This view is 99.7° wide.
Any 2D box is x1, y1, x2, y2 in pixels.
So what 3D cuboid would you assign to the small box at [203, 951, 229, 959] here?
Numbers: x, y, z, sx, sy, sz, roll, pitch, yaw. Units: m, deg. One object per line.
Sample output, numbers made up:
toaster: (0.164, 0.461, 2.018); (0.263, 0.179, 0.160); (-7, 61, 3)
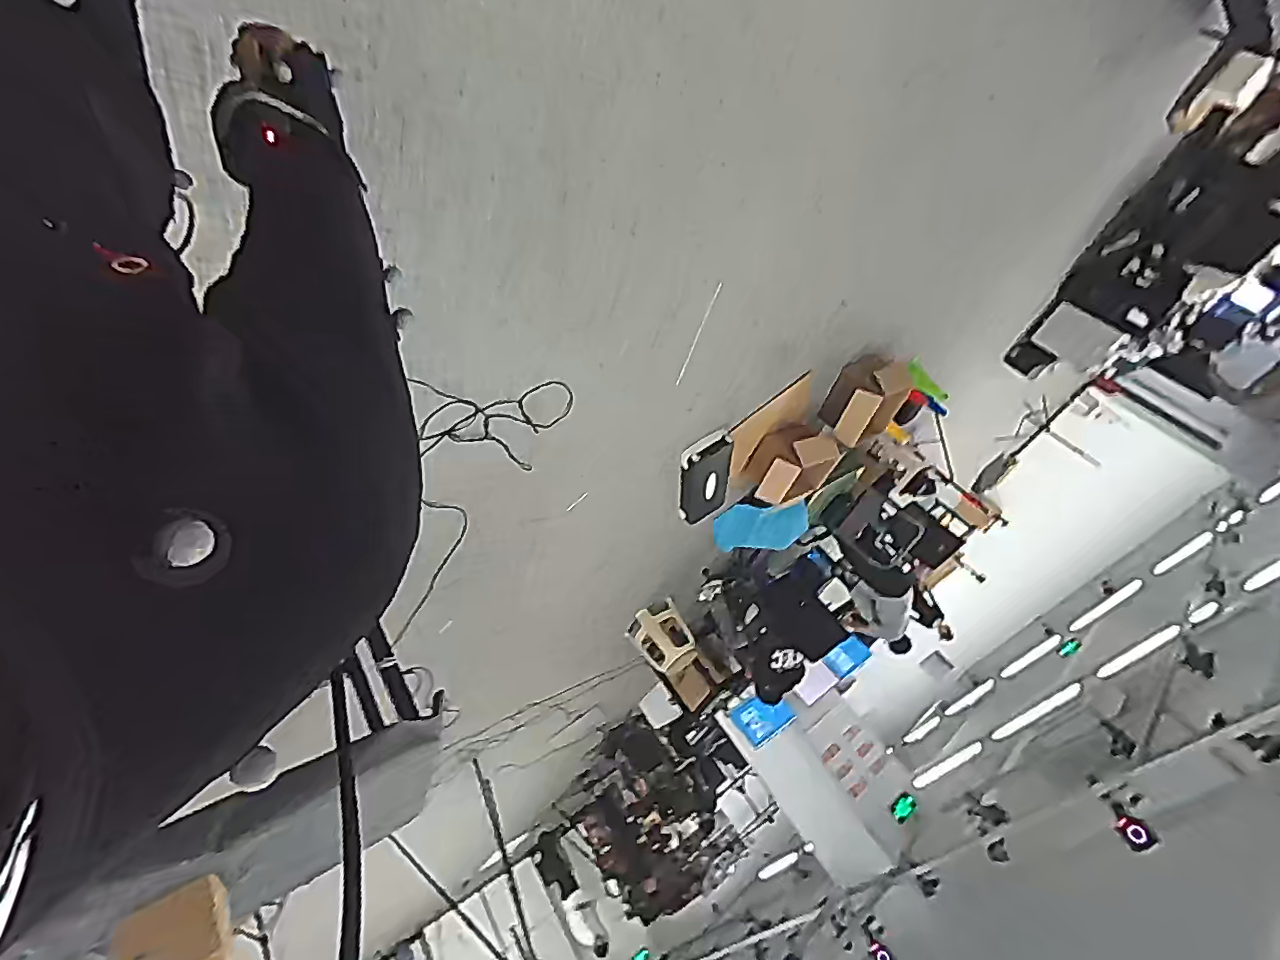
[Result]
small box: (-0.977, 1.171, 1.164); (0.179, 0.176, 0.168); (-13, 142, -39)
